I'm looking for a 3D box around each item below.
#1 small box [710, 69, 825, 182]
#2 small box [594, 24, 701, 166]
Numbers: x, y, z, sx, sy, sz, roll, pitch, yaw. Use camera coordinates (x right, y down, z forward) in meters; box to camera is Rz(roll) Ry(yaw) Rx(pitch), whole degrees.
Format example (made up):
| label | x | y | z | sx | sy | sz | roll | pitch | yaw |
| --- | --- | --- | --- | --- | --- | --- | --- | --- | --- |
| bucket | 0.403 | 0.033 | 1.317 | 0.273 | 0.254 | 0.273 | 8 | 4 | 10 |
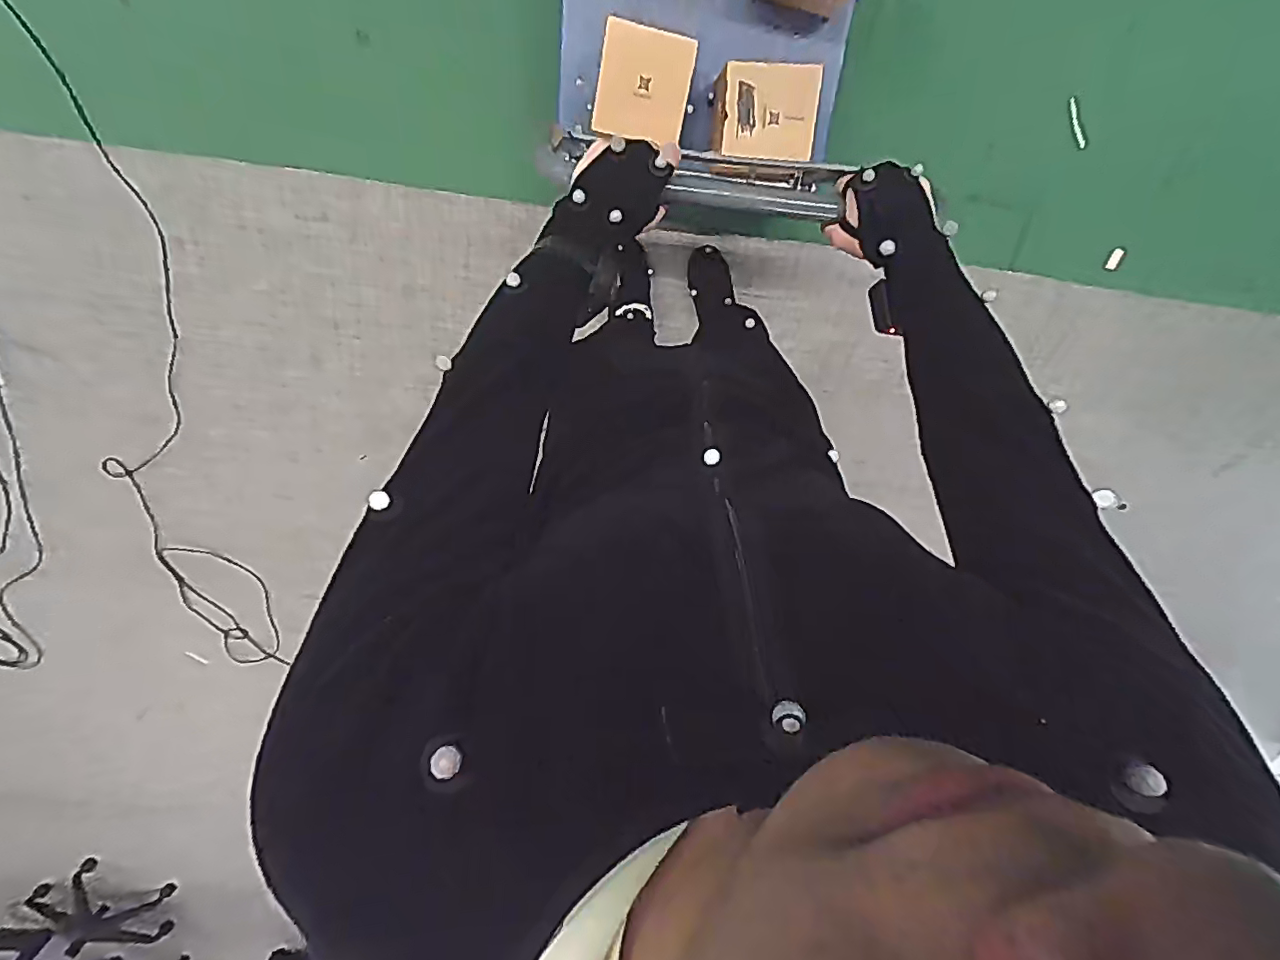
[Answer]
| label | x | y | z | sx | sy | sz | roll | pitch | yaw |
| --- | --- | --- | --- | --- | --- | --- | --- | --- | --- |
| small box | 0.240 | -0.691 | 1.072 | 0.179 | 0.176 | 0.168 | 1 | 116 | -3 |
| small box | 0.008 | -0.731 | 1.049 | 0.168 | 0.176 | 0.179 | 10 | 116 | -7 |
